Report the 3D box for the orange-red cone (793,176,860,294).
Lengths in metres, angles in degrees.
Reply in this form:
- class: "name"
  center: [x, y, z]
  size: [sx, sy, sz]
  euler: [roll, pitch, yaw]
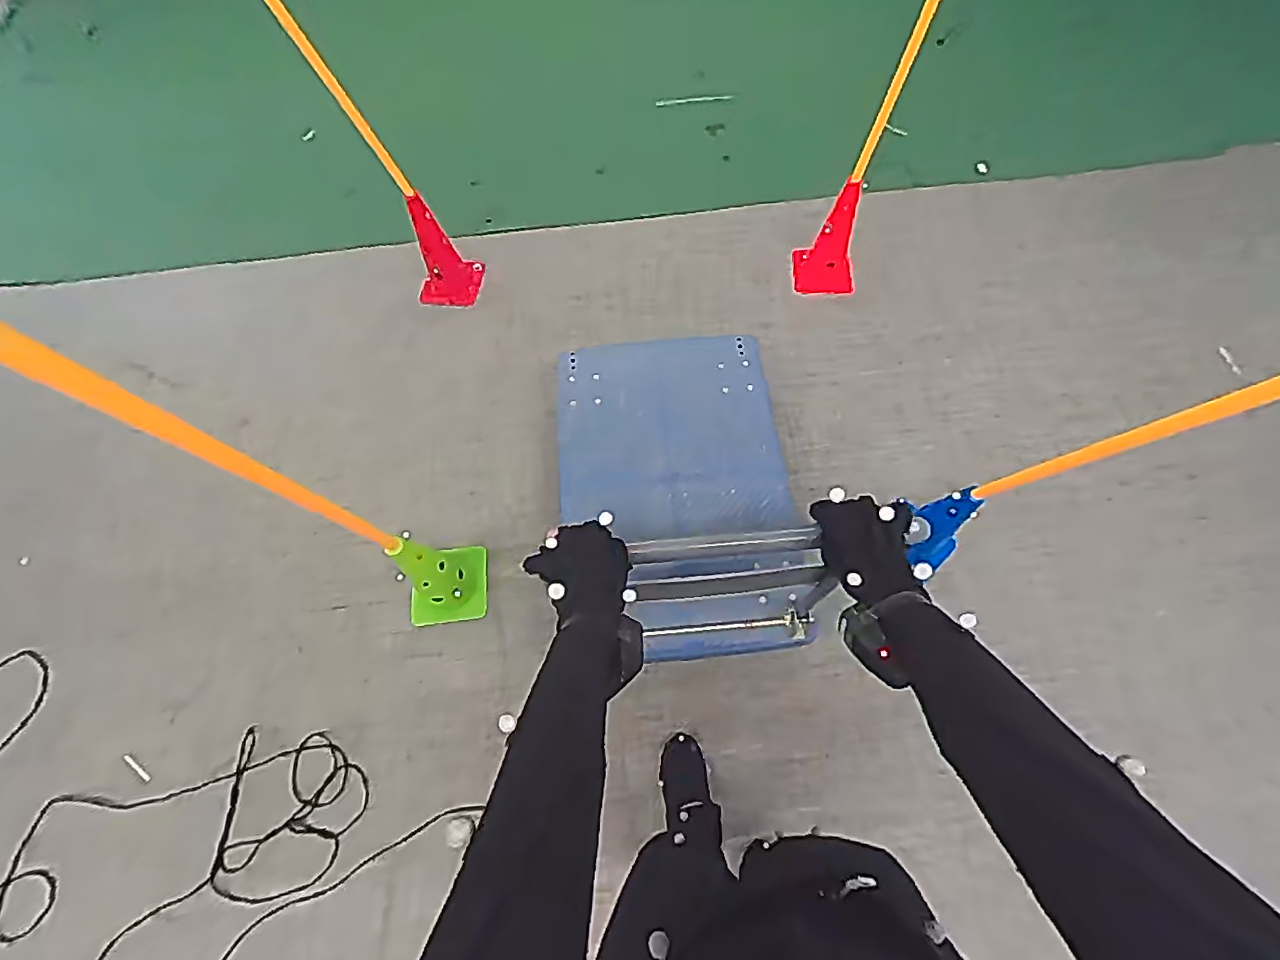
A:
- class: "orange-red cone"
  center: [0.622, -0.788, 1.708]
  size: [0.198, 0.360, 0.199]
  euler: [3, 67, 5]
